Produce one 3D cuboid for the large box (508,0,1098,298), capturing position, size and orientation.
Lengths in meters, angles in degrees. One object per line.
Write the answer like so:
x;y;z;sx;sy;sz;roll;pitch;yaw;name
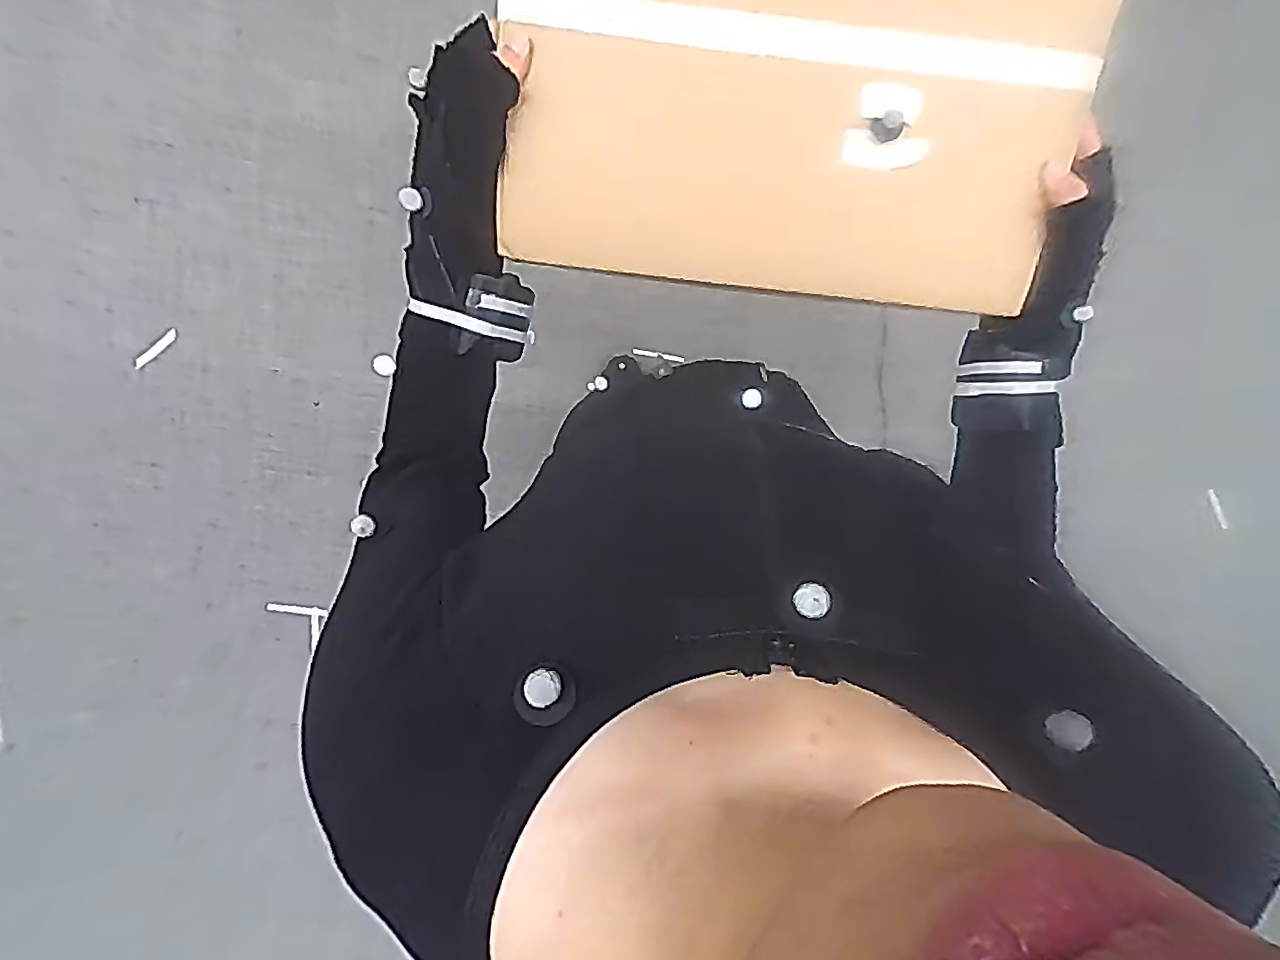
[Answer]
0.105;-0.352;0.514;0.408;0.320;0.320;5;110;-2;large box
